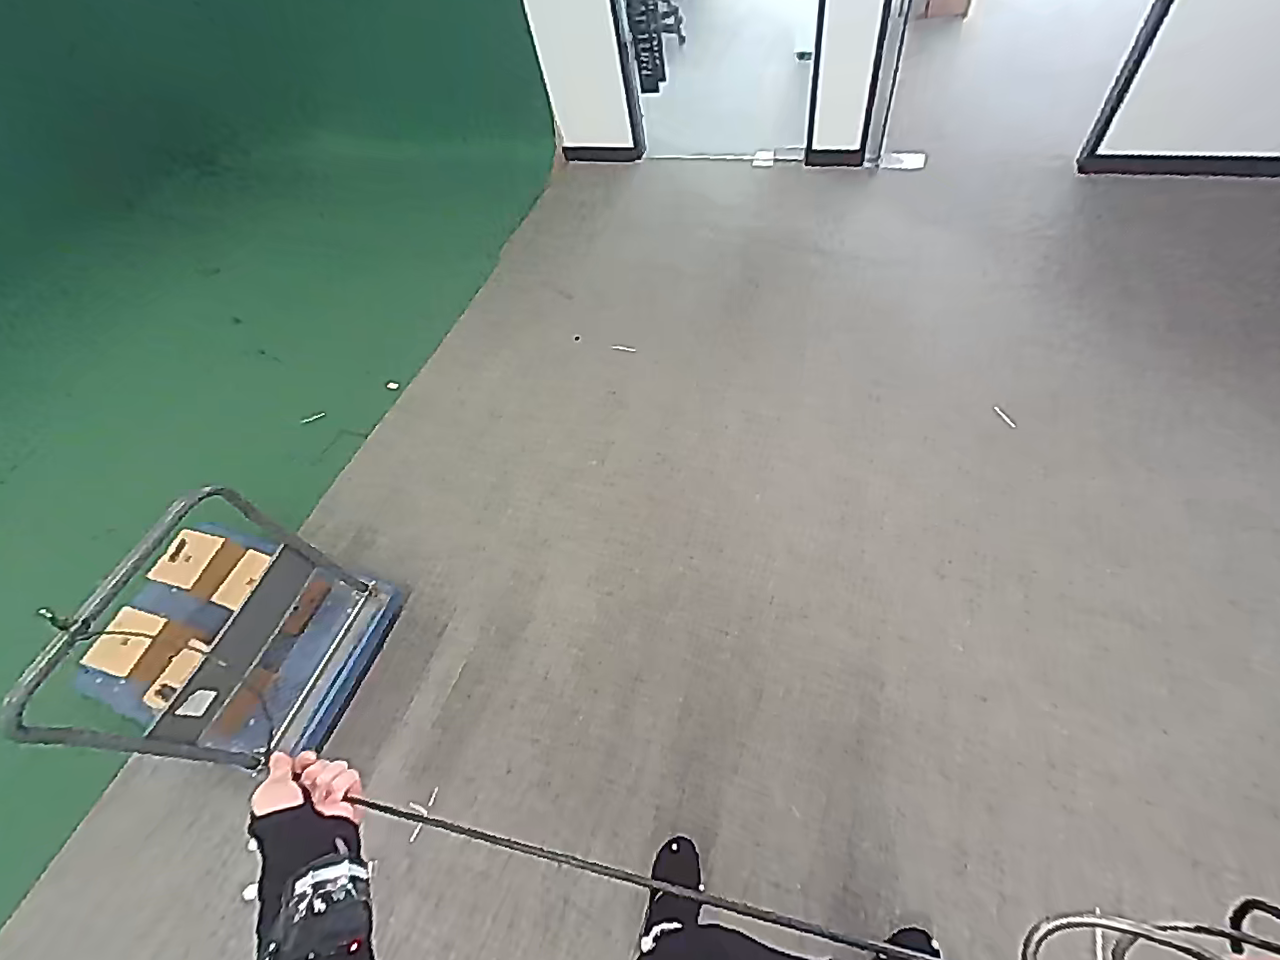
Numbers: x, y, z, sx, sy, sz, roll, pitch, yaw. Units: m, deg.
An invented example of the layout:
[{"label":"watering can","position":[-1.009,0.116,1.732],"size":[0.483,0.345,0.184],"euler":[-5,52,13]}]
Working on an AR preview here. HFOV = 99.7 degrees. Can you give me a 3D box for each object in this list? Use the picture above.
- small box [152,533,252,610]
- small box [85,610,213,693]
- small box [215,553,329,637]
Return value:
[{"label":"small box","position":[-1.319,0.285,1.668],"size":[0.179,0.176,0.168],"euler":[10,60,16]},{"label":"small box","position":[-1.388,0.494,1.544],"size":[0.179,0.176,0.168],"euler":[9,59,16]},{"label":"small box","position":[-1.069,0.342,1.584],"size":[0.179,0.176,0.168],"euler":[14,61,18]}]
